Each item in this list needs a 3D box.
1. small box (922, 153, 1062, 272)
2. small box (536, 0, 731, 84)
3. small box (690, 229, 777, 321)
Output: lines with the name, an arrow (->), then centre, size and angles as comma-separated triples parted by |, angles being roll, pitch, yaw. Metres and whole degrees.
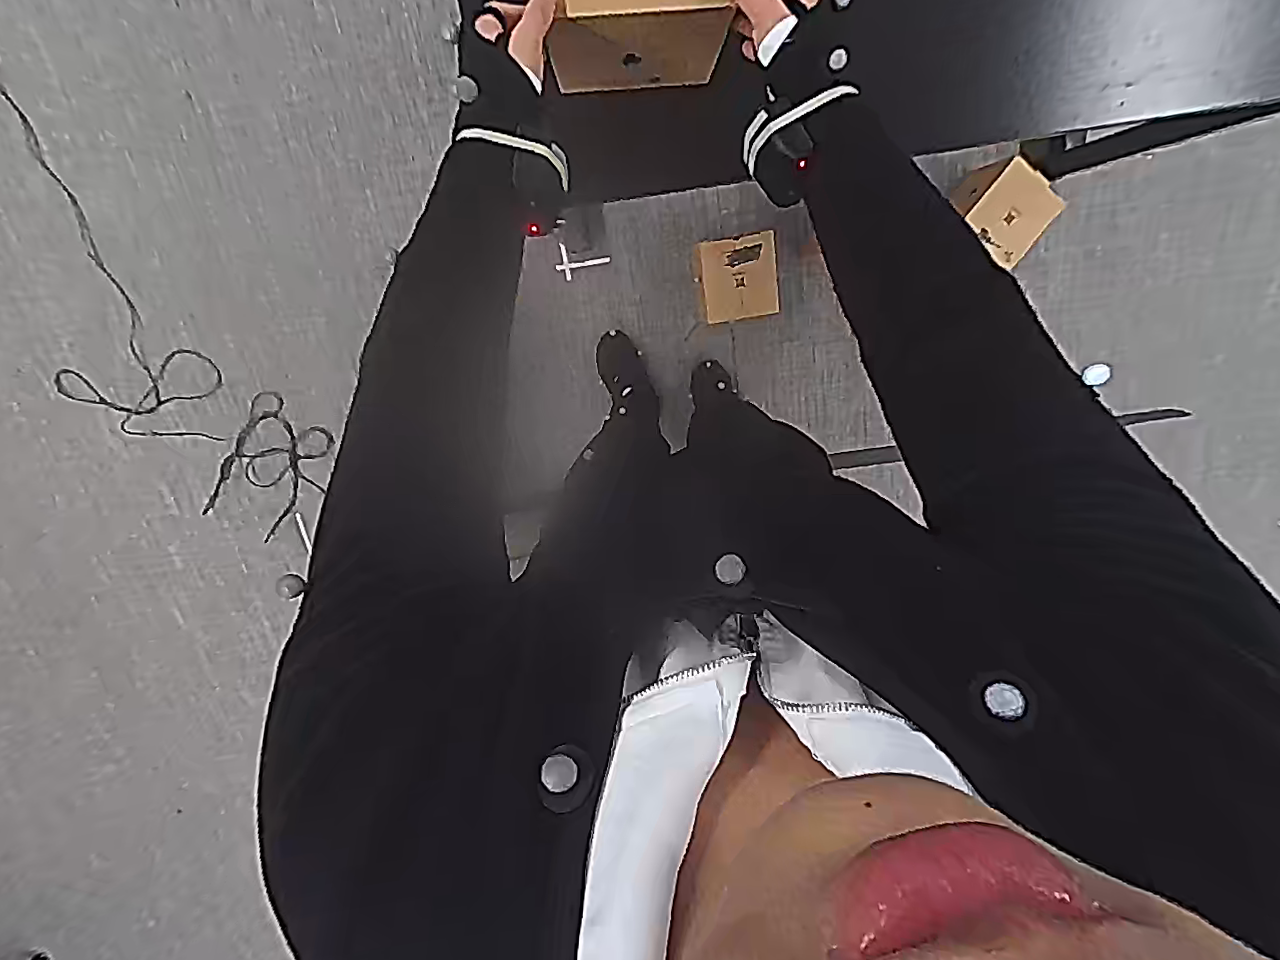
small box -> 0.800, -0.606, 1.251 | 0.168, 0.176, 0.179 | 34, 104, -11
small box -> -0.010, -0.493, 0.497 | 0.168, 0.176, 0.179 | -4, 108, -1
small box -> 0.217, -0.480, 1.278 | 0.168, 0.176, 0.179 | -9, 110, 2
